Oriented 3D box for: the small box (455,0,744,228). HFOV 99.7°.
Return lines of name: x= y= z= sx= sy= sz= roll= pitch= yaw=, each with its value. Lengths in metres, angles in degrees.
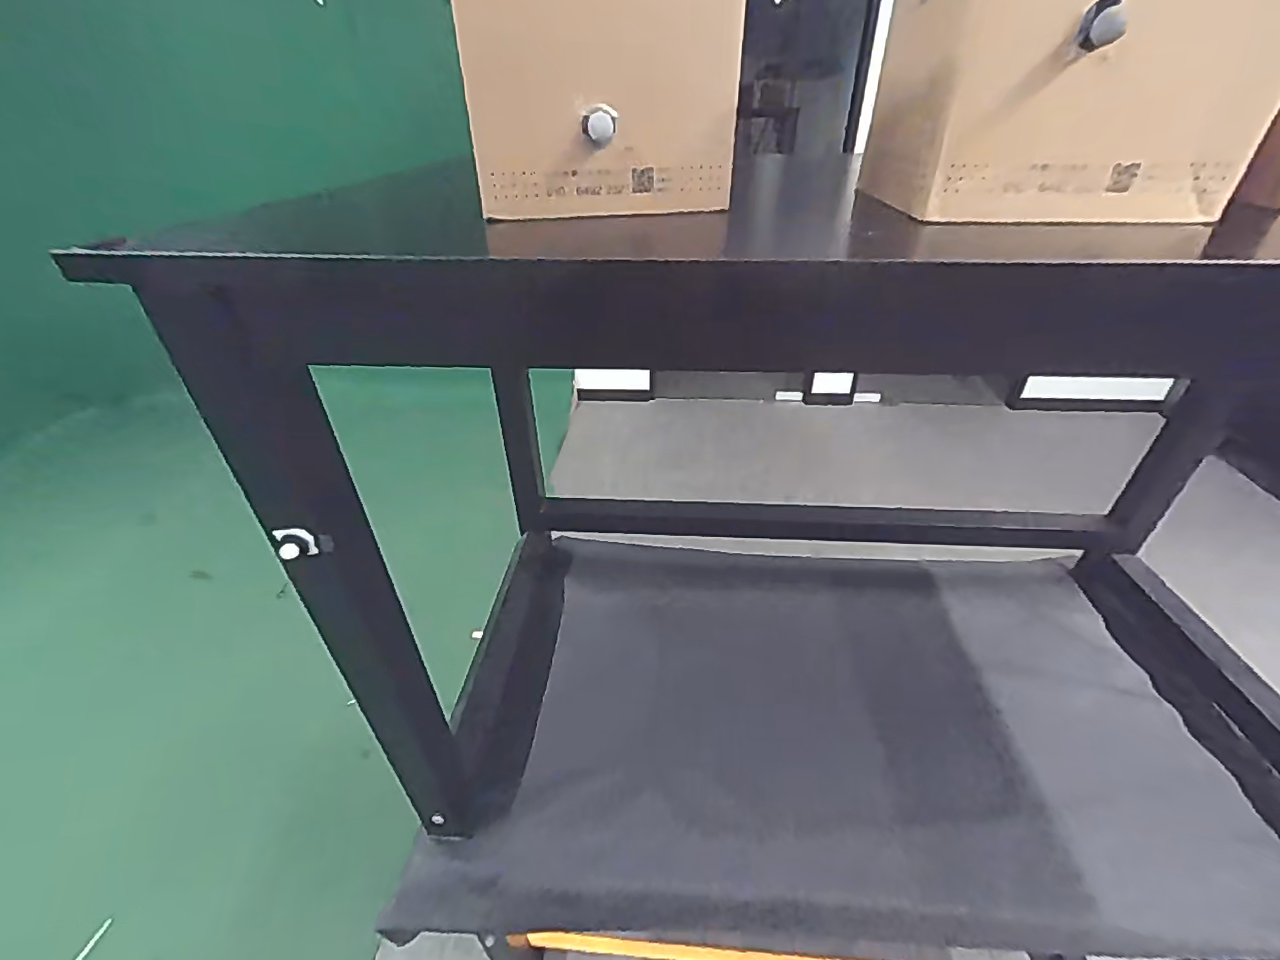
small box: x=-0.036 y=-0.285 z=0.384 sx=0.168 sy=0.176 sz=0.179 roll=-7 pitch=37 yaw=-9
